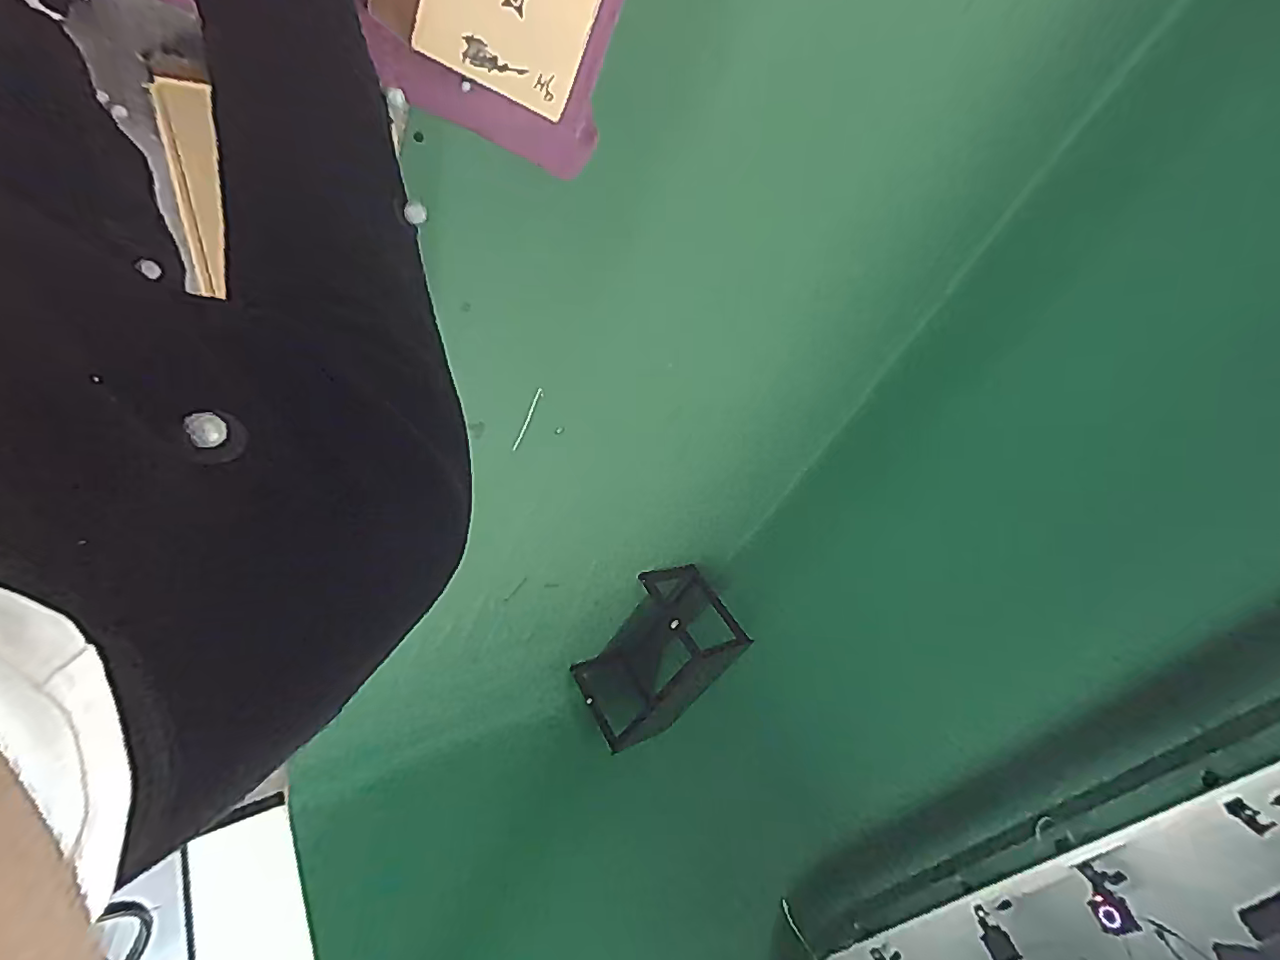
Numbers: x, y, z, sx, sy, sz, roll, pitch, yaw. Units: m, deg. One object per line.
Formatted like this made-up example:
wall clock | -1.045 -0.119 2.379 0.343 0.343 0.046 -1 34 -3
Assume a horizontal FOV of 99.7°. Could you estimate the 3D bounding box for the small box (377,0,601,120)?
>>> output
small box | -0.154 -0.519 0.553 0.168 0.176 0.179 0 130 -42
